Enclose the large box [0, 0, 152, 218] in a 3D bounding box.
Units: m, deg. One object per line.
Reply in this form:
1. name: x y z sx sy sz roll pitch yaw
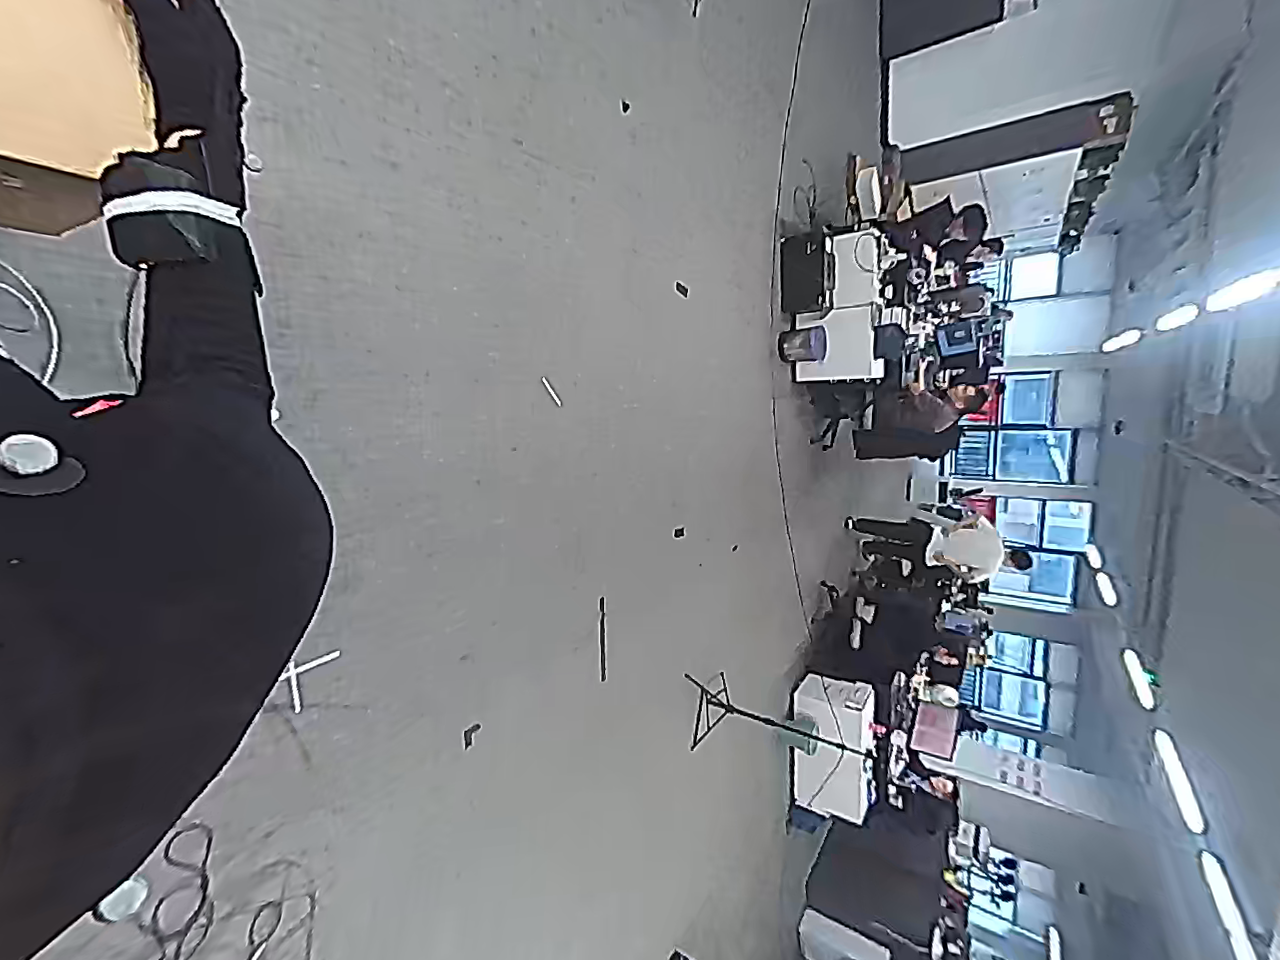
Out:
1. large box: -0.596 -0.376 0.299 0.408 0.320 0.320 -11 109 -56
